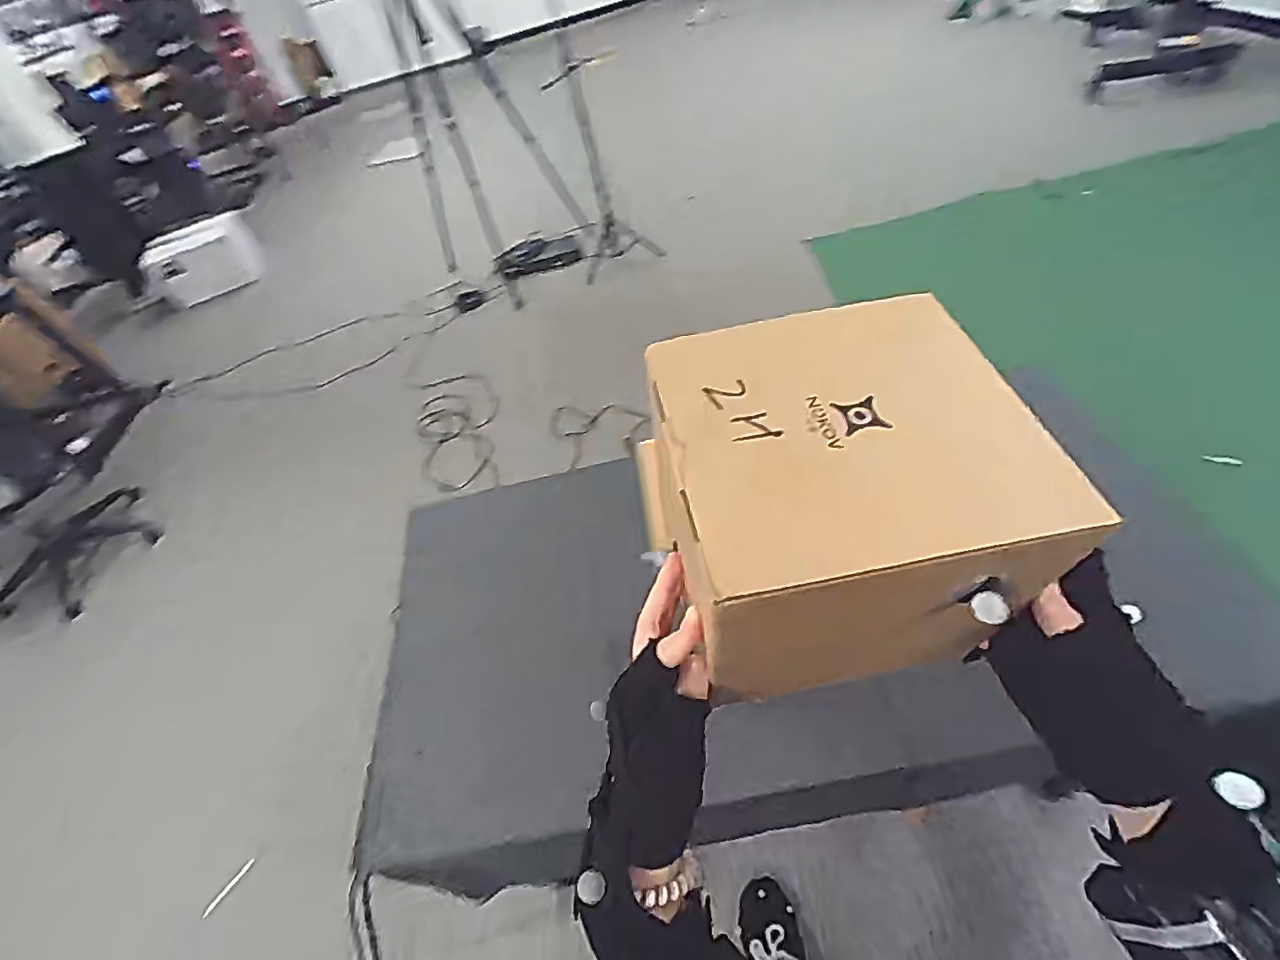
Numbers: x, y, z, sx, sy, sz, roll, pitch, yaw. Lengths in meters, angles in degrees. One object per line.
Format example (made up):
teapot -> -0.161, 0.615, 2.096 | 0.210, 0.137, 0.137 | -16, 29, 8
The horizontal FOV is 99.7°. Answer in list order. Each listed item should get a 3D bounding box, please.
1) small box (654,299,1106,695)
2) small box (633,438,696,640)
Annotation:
small box -> 0.112, 0.019, 0.340 | 0.179, 0.176, 0.168 | -11, 53, 0
small box -> 0.095, 0.056, 0.619 | 0.168, 0.176, 0.179 | -14, 49, 4
